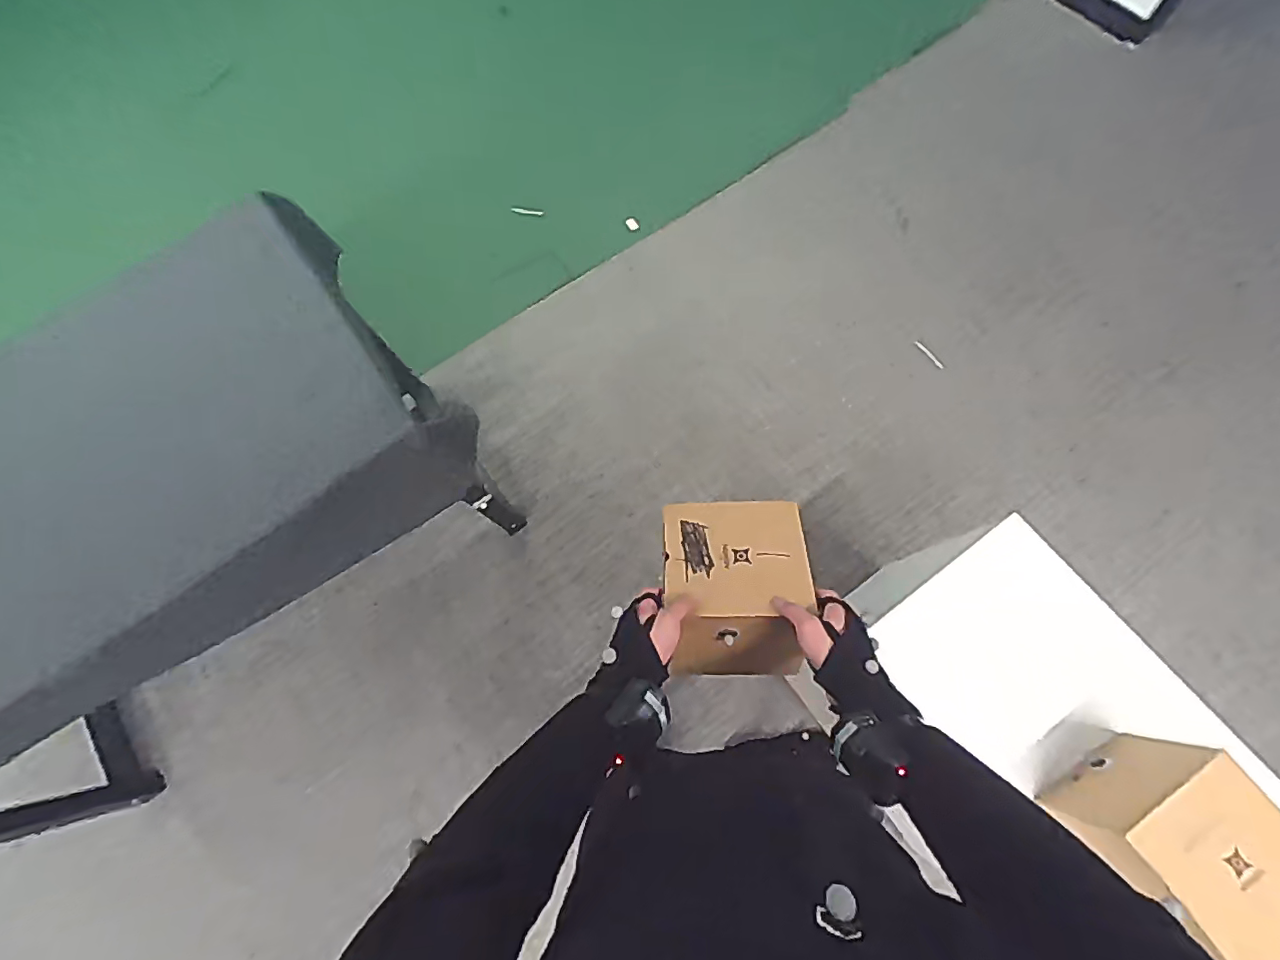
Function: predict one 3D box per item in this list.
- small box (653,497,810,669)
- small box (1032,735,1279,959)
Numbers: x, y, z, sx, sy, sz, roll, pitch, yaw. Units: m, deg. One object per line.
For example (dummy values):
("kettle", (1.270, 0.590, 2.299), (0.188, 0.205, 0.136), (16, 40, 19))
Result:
("small box", (0.111, 0.138, 0.708), (0.179, 0.176, 0.168), (-1, 50, 5))
("small box", (0.649, 0.443, 0.663), (0.168, 0.176, 0.179), (-33, 72, -8))
